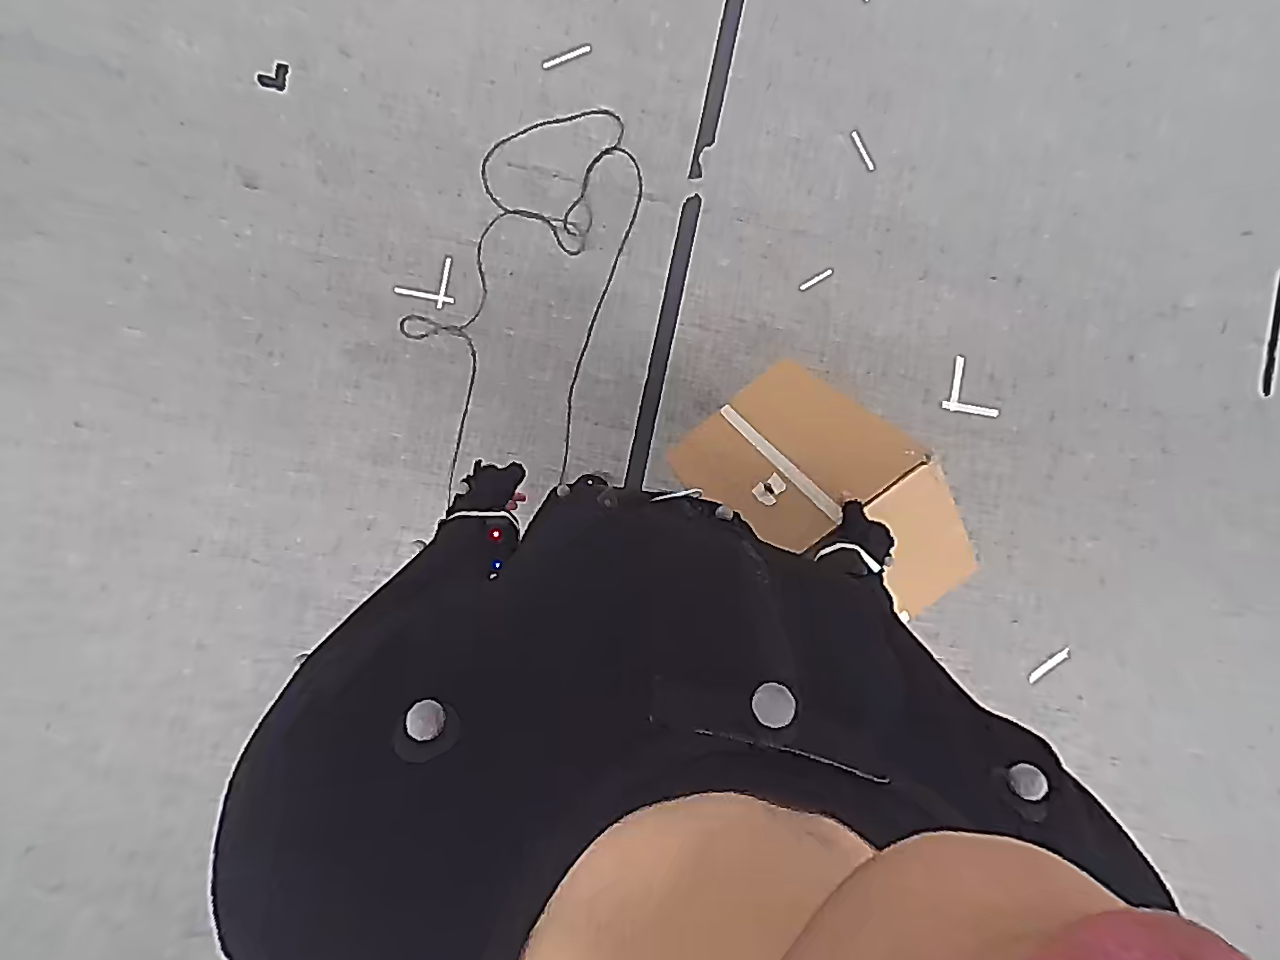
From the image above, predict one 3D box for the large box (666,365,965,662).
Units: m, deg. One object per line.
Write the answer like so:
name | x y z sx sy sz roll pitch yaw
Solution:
large box | 0.310 0.050 1.020 0.320 0.408 0.320 -39 126 6
